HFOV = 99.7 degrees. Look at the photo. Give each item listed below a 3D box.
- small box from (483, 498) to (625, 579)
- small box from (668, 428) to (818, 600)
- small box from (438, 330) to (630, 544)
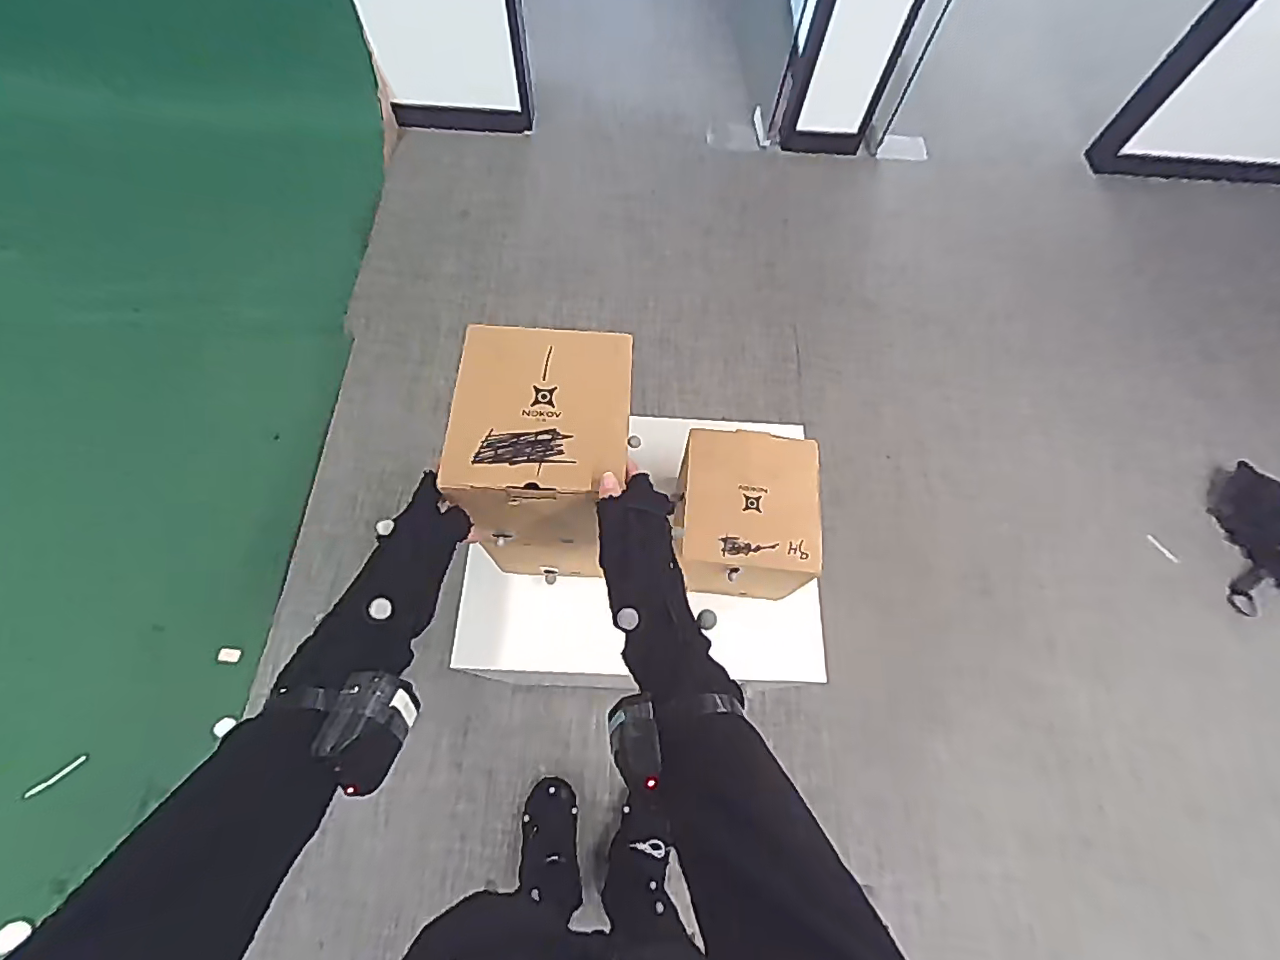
[{"bbox_3d":[-0.104,0.029,0.737,0.168,0.176,0.179,1,69,-2],"label":"small box"},{"bbox_3d":[0.132,0.053,0.735,0.168,0.176,0.179,6,67,0],"label":"small box"},{"bbox_3d":[-0.097,-0.036,0.585,0.168,0.176,0.179,3,66,-1],"label":"small box"}]
